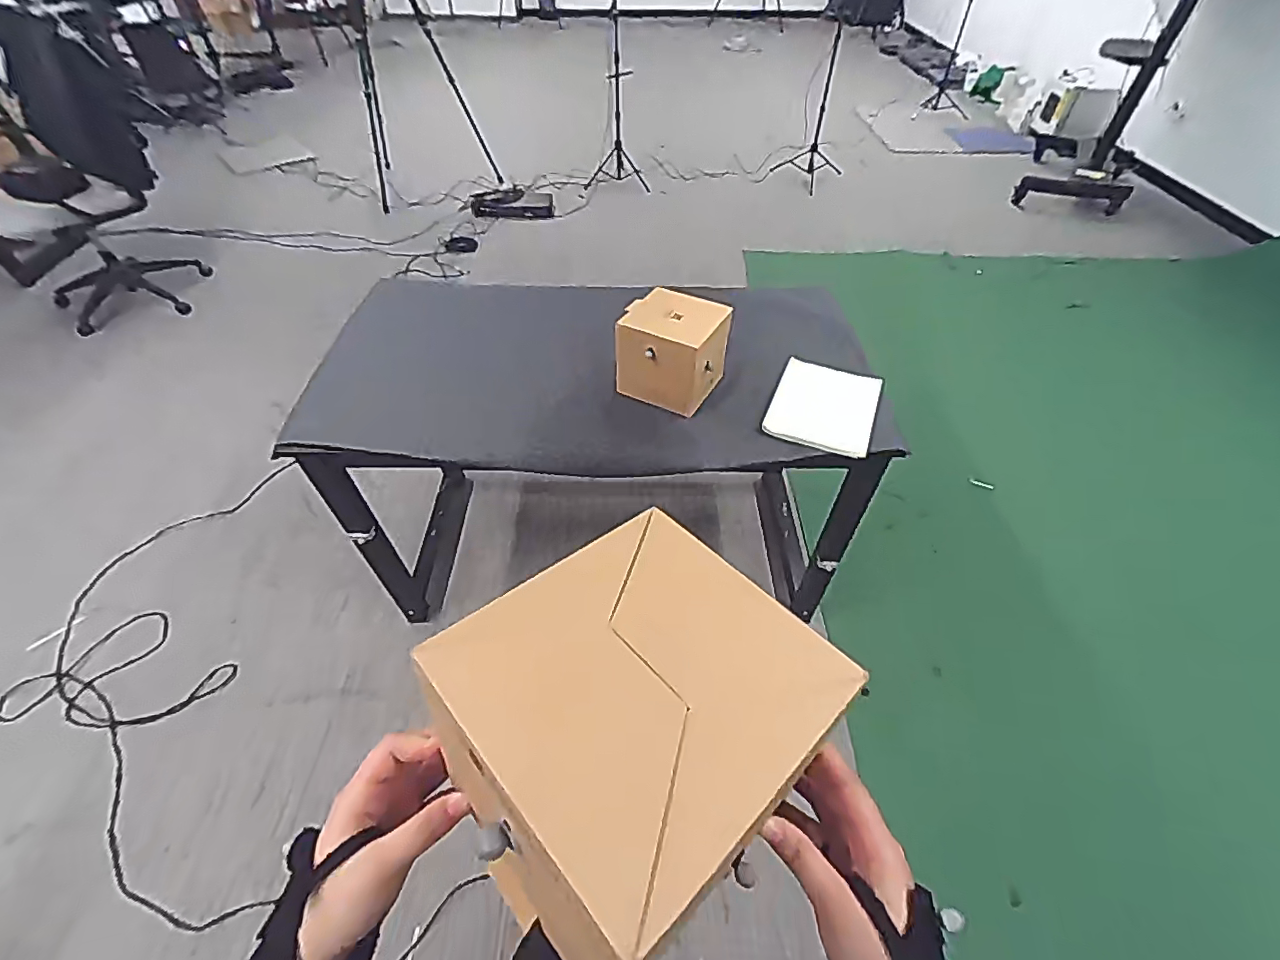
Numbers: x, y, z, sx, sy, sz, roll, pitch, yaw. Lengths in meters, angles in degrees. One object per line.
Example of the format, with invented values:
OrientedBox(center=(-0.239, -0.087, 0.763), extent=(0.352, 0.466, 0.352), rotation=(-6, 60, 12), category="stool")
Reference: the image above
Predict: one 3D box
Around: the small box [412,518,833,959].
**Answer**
OrientedBox(center=(-0.011, 0.149, 0.334), extent=(0.179, 0.176, 0.168), rotation=(-29, 51, -35), category="small box")

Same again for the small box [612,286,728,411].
OrientedBox(center=(0.060, -0.263, 1.098), extent=(0.179, 0.176, 0.168), rotation=(22, 51, 19), category="small box")
